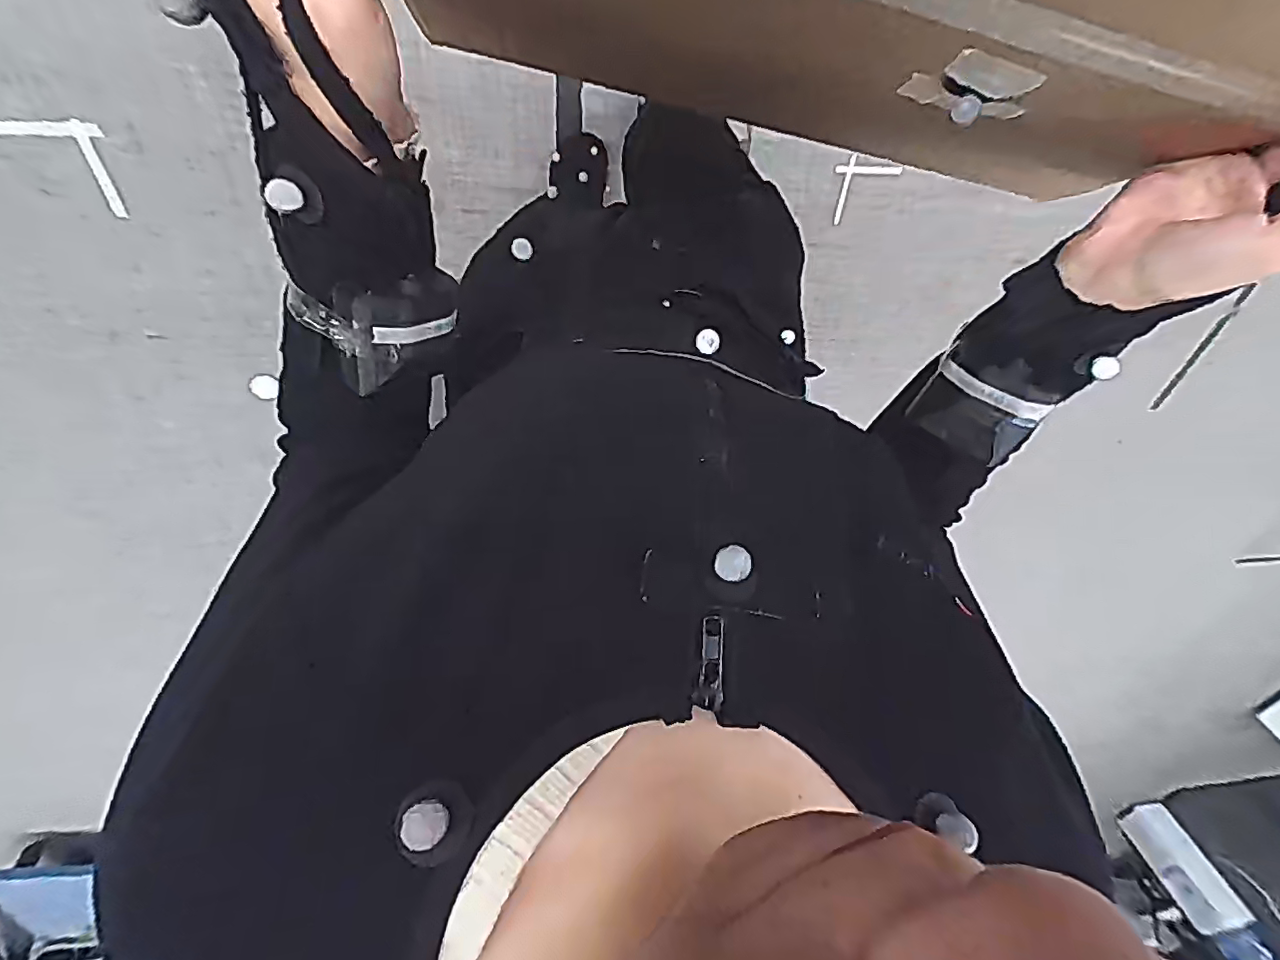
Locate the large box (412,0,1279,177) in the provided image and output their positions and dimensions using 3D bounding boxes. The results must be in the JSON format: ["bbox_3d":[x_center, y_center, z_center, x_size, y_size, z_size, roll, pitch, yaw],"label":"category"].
[{"bbox_3d":[0.111,-0.331,0.153,0.408,0.320,0.320,8,106,-8],"label":"large box"}]
